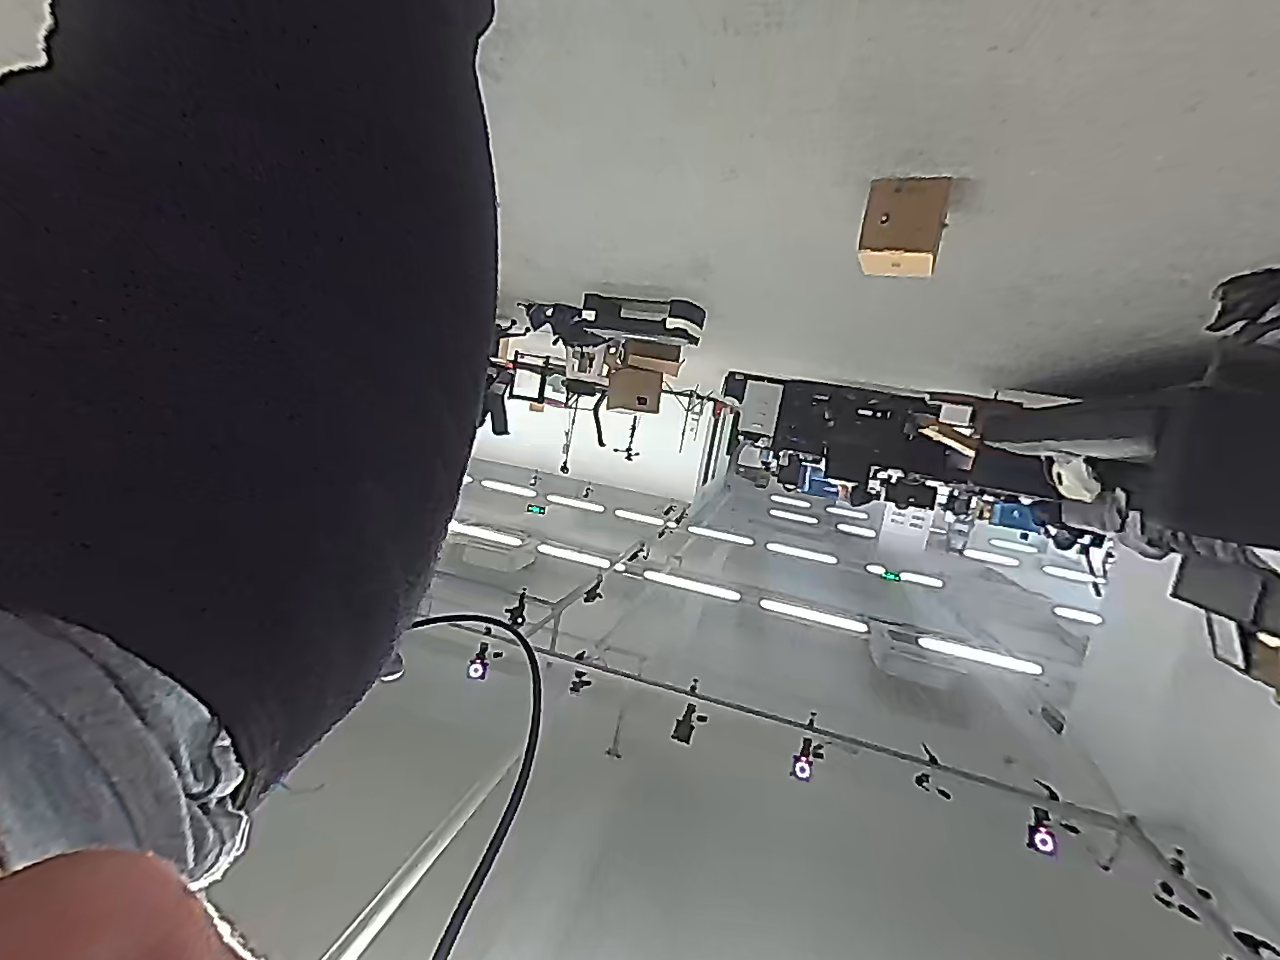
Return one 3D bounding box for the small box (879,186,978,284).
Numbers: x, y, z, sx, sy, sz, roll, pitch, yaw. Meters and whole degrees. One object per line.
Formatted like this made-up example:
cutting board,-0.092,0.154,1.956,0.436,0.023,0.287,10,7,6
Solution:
small box,0.677,-0.574,1.271,0.168,0.176,0.179,17,-169,29
